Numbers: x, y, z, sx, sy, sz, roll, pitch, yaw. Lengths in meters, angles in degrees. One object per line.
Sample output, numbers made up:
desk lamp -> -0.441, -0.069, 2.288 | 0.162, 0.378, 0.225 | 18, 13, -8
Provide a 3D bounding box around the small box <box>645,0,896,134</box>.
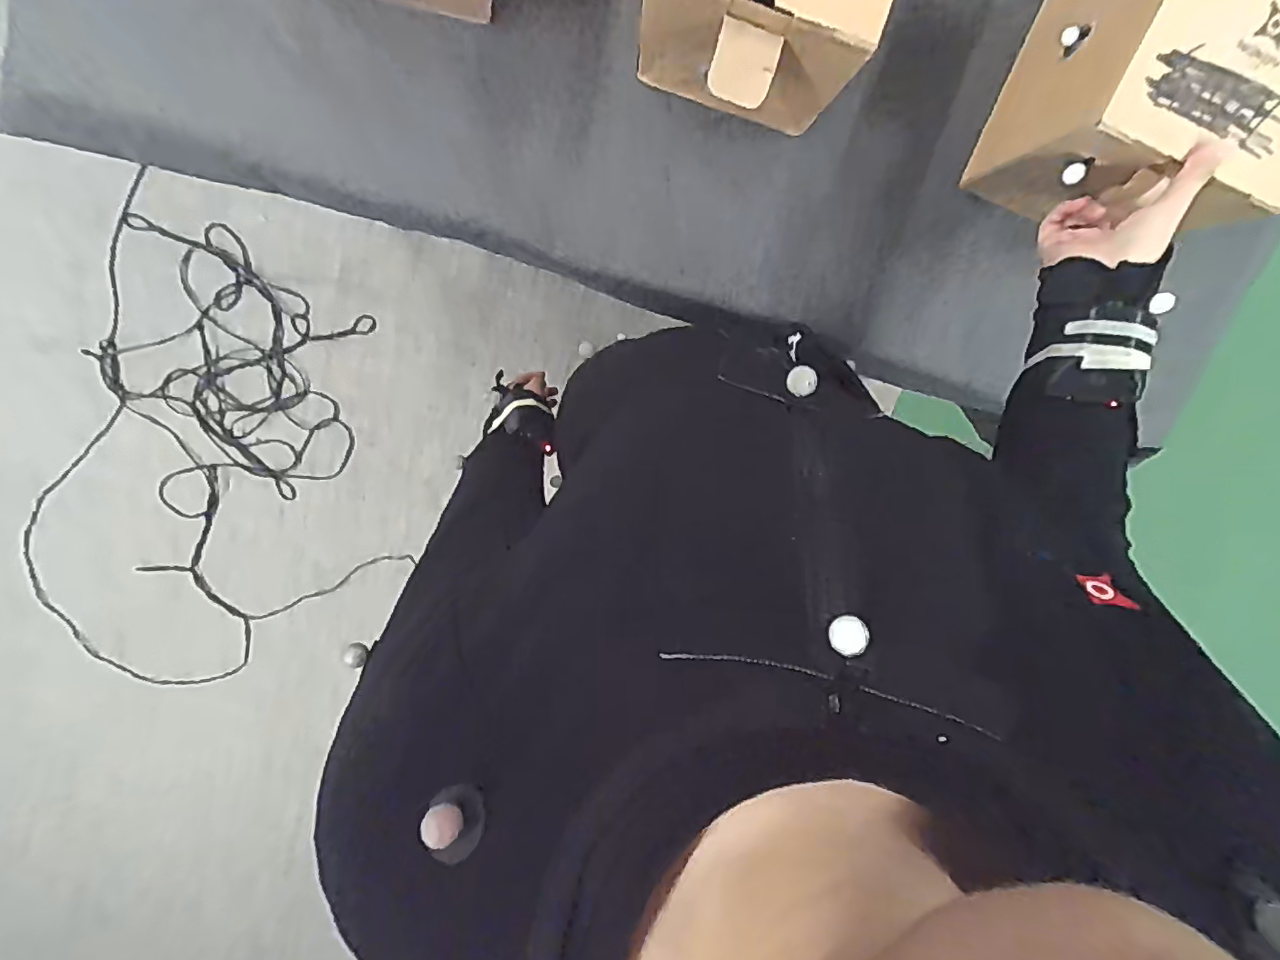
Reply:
small box -> 0.104, -0.410, 0.414 | 0.168, 0.176, 0.179 | 15, 104, -6
